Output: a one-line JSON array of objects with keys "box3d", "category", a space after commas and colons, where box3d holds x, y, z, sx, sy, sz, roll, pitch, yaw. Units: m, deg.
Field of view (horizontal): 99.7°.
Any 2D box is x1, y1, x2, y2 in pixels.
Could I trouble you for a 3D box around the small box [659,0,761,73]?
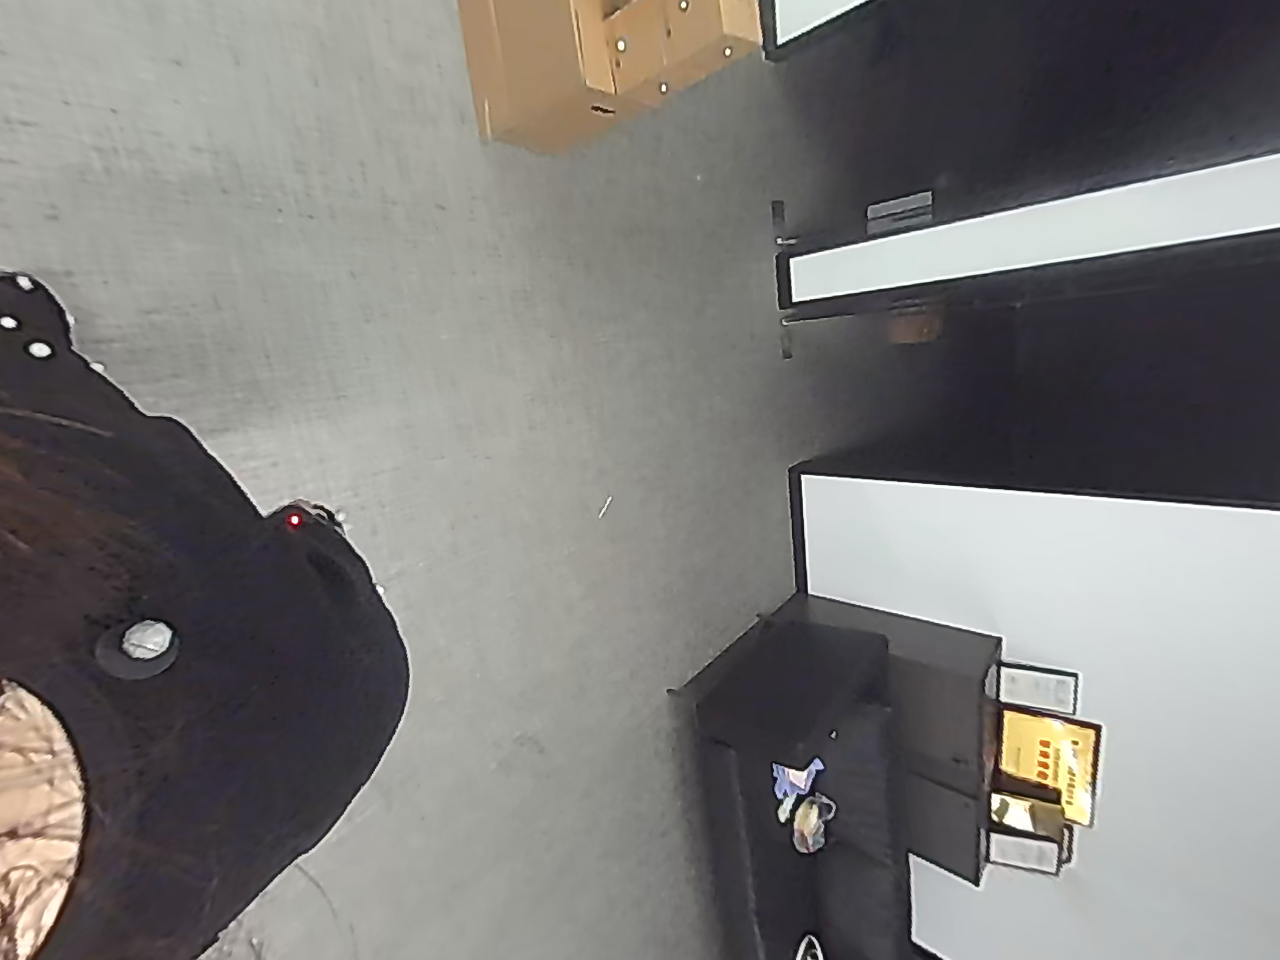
[{"box3d": [0.159, -1.091, 1.270, 0.179, 0.176, 0.168, -30, 116, -42], "category": "small box"}]
